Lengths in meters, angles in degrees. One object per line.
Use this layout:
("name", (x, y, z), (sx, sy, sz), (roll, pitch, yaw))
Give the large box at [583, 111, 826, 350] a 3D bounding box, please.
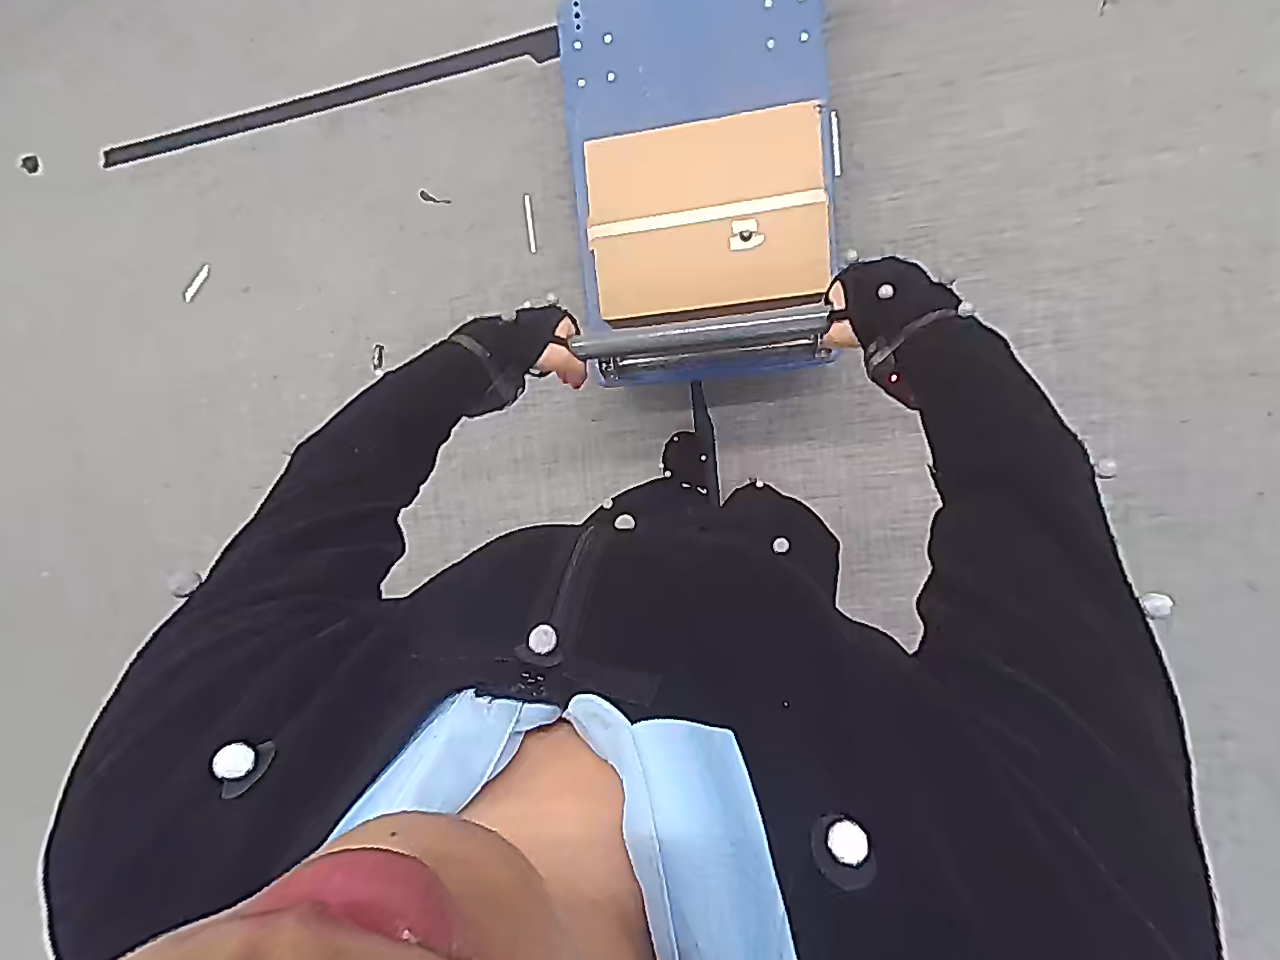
("large box", (0.127, -0.459, 1.085), (0.408, 0.320, 0.320), (-5, 96, 8))
